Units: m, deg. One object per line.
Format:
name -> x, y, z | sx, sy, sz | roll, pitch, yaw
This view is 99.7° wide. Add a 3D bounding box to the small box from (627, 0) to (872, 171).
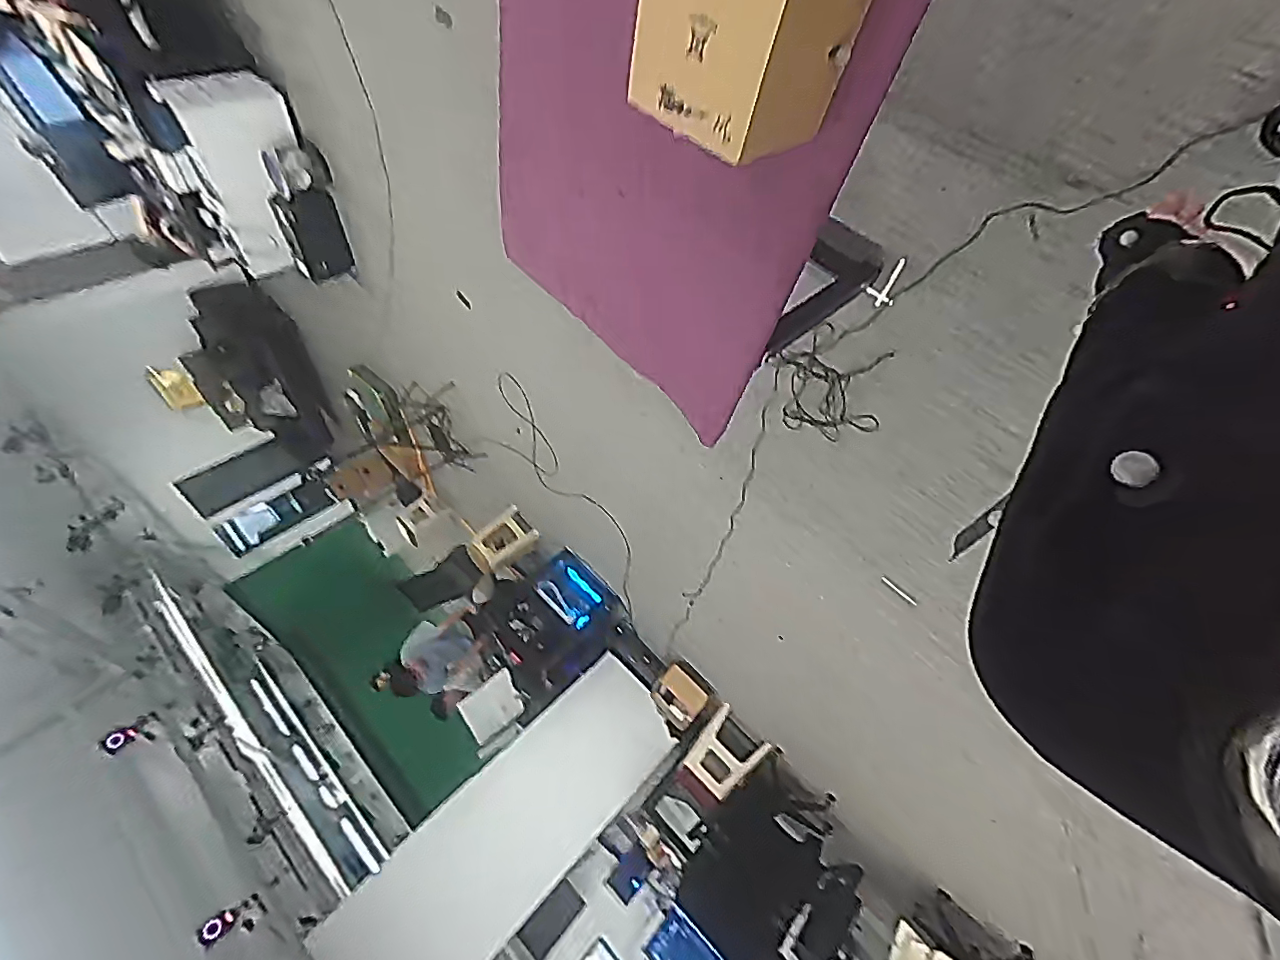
small box -> 0.113, -0.463, 0.559 | 0.168, 0.176, 0.179 | 42, 147, 17
